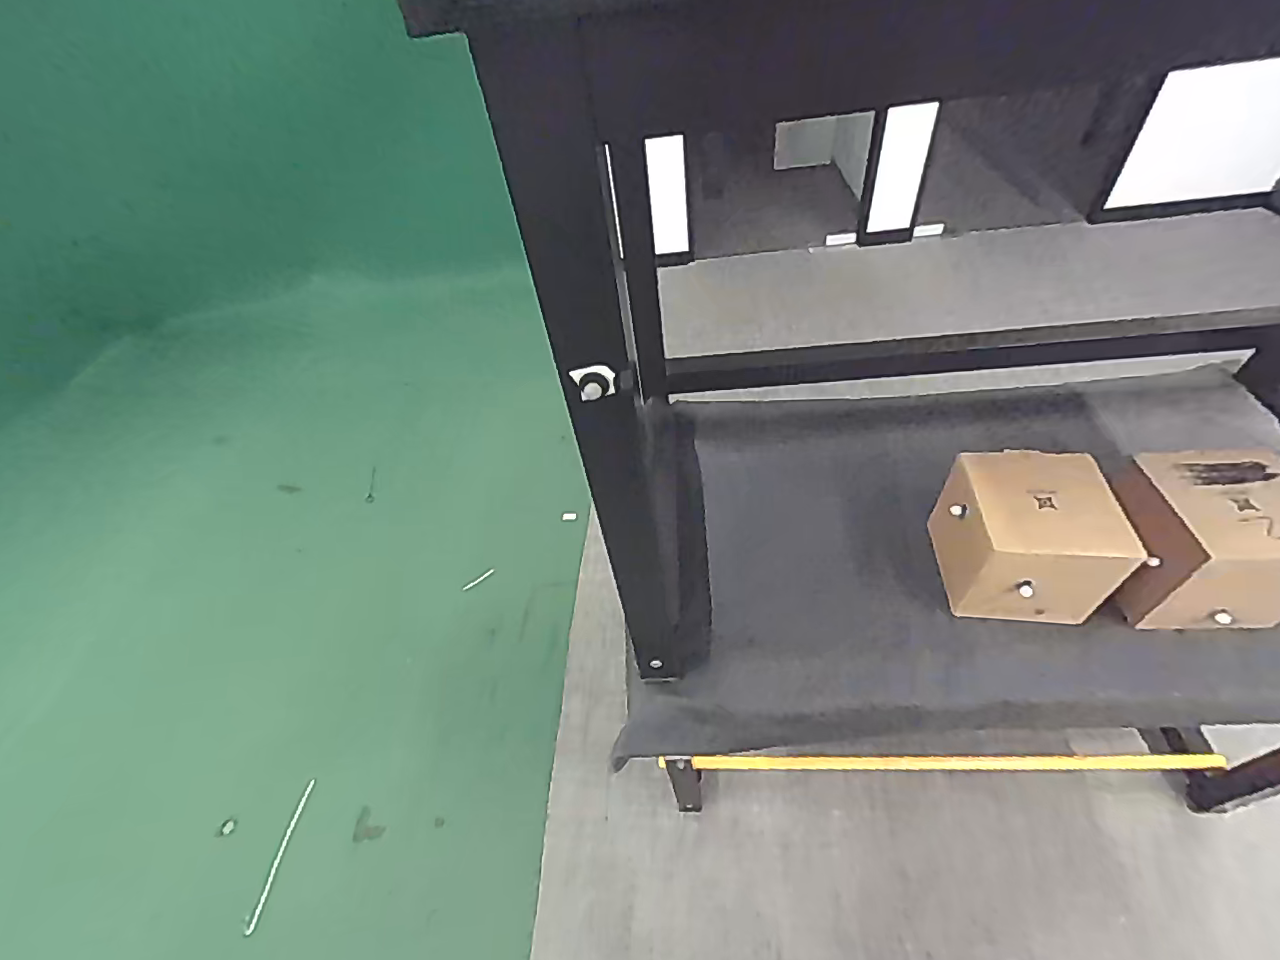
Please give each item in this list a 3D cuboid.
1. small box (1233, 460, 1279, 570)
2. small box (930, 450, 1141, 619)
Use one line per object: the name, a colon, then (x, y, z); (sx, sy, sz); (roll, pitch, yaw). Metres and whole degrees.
small box: (0.969, 0.053, 0.706); (0.168, 0.176, 0.179); (-1, 47, 8)
small box: (0.531, 0.078, 0.760); (0.168, 0.176, 0.179); (2, 48, 11)
